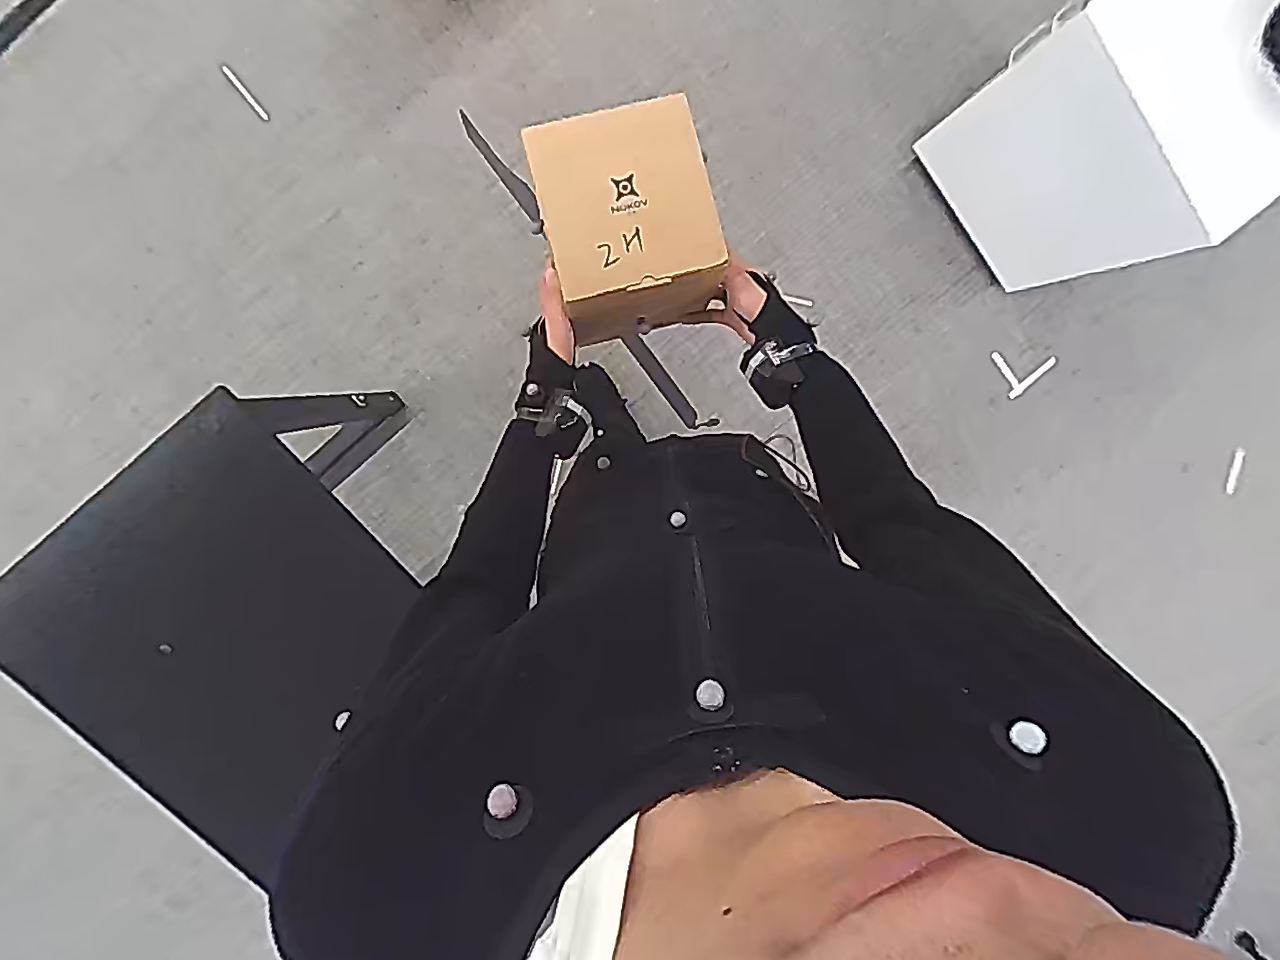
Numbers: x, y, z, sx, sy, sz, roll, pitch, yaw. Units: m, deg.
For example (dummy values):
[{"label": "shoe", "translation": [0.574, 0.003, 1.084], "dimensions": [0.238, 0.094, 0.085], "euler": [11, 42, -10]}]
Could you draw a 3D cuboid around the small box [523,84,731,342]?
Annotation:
[{"label": "small box", "translation": [-0.017, -0.271, 0.586], "dimensions": [0.168, 0.176, 0.179], "euler": [-15, 90, -2]}]
